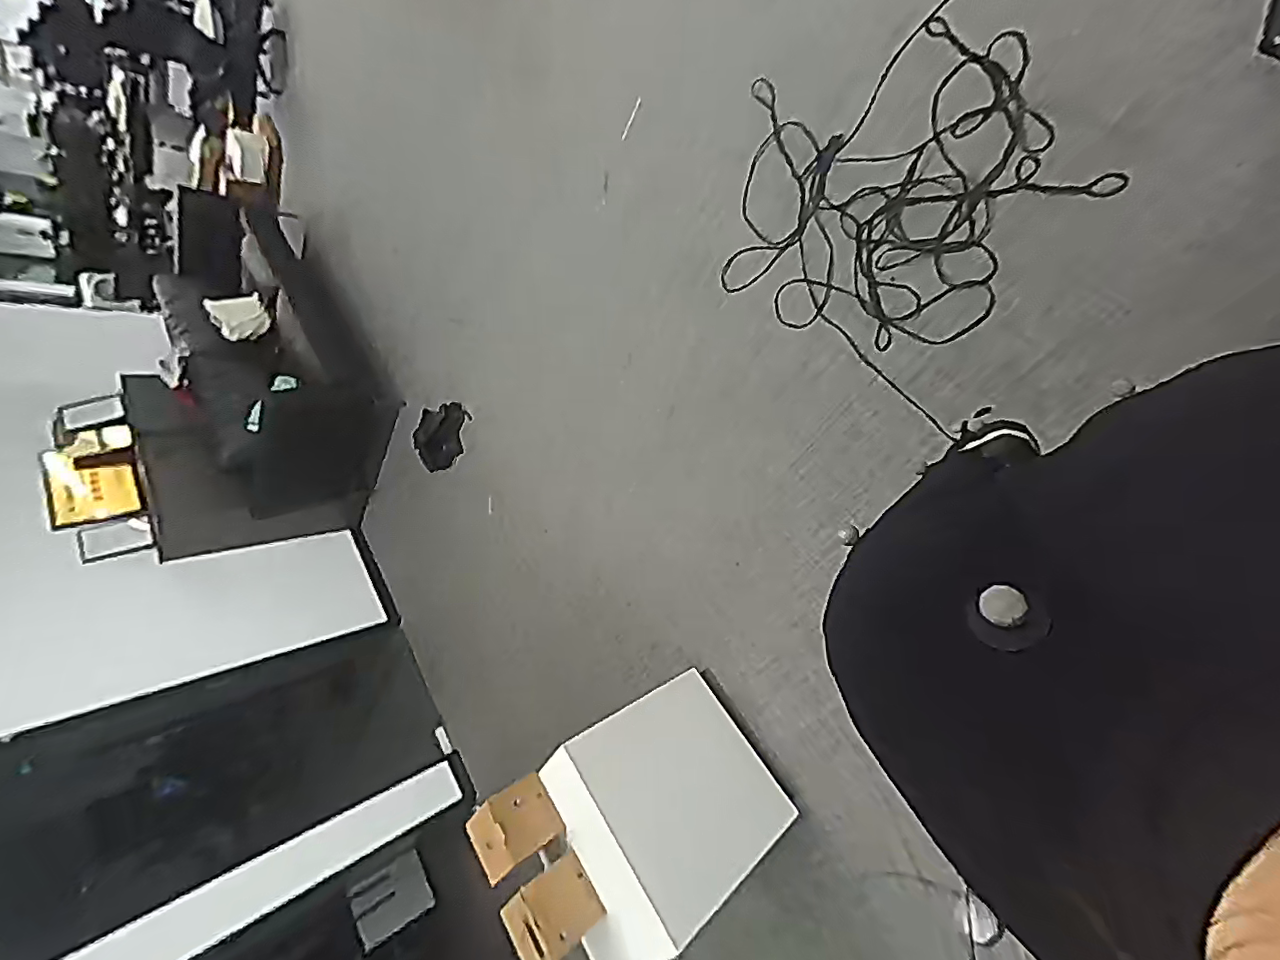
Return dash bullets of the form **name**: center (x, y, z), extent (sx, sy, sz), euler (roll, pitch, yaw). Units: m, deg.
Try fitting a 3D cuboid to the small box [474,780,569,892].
- **small box**: center (-0.314, 0.946, 1.450), extent (0.168, 0.176, 0.179), euler (51, 128, 27)
